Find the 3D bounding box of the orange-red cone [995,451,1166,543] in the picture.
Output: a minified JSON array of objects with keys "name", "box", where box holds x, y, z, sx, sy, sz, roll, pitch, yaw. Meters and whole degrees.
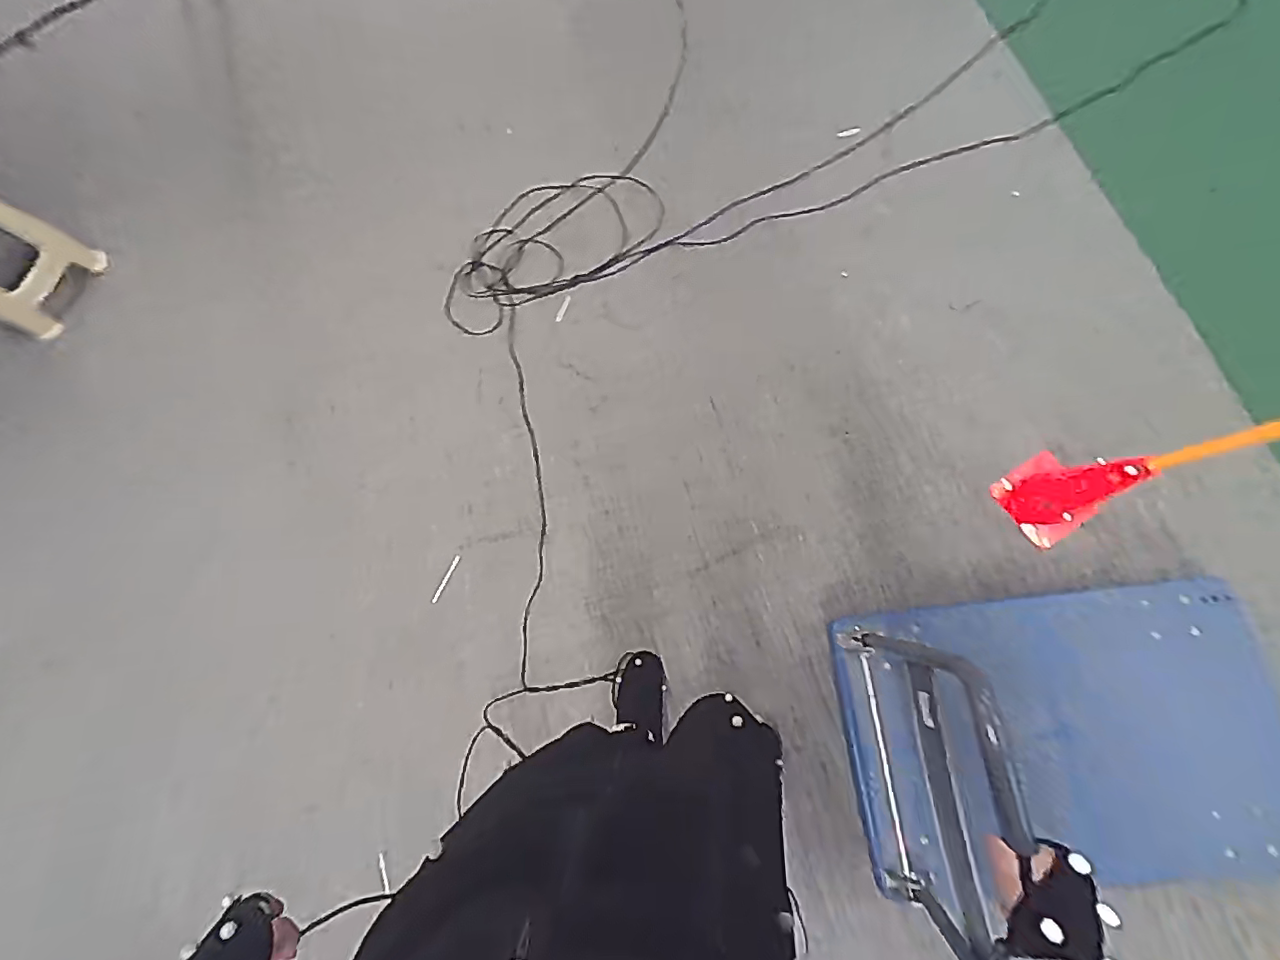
[{"name":"orange-red cone","box":[1.051,0.000,1.256,0.198,0.360,0.199,-32,75,-4]}]
